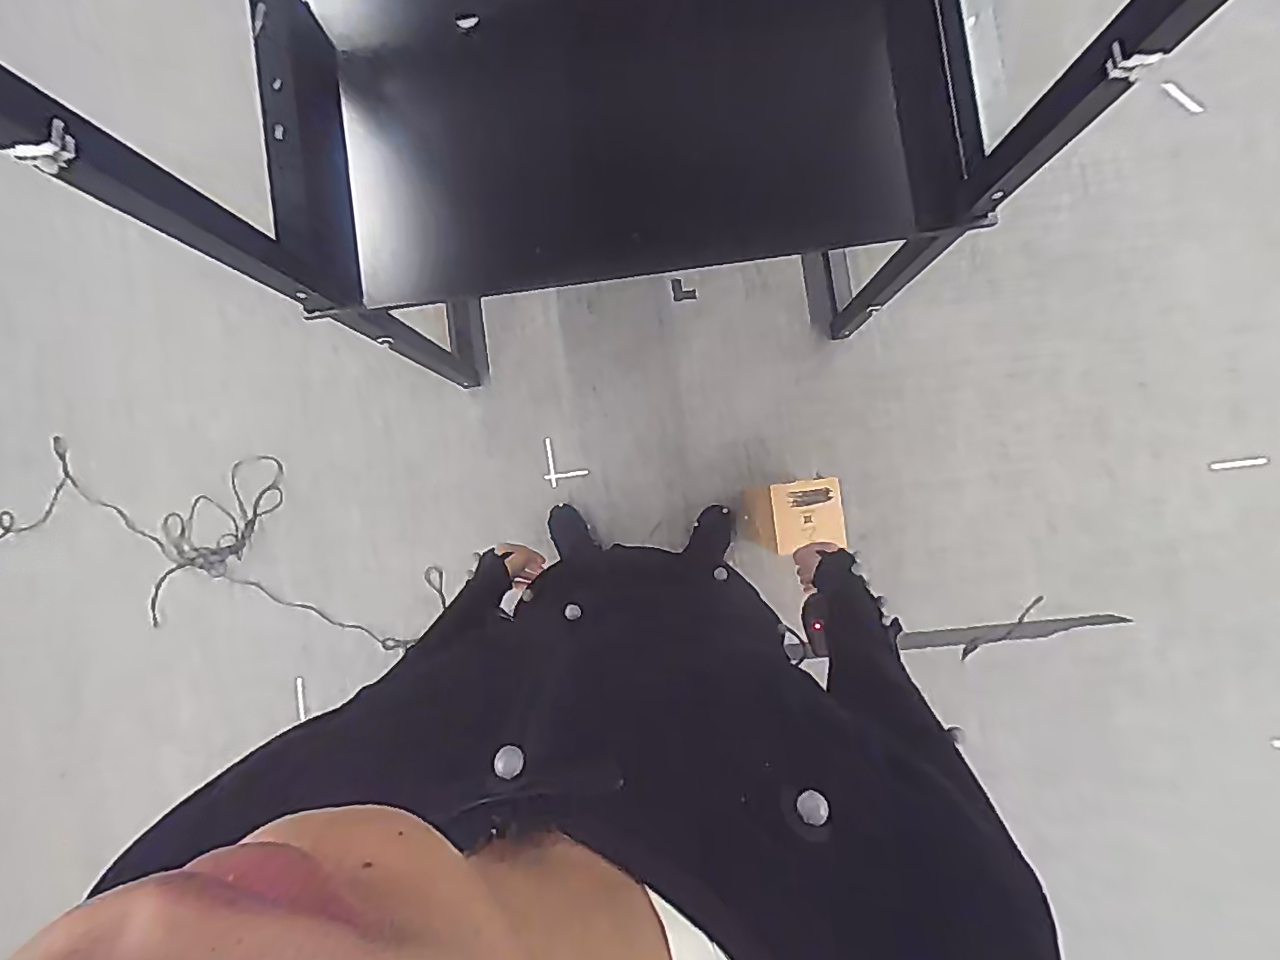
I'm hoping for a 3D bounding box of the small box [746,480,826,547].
[{"bbox_3d":[0.410,0.091,1.538,0.179,0.176,0.168,-9,88,3],"label":"small box"}]
